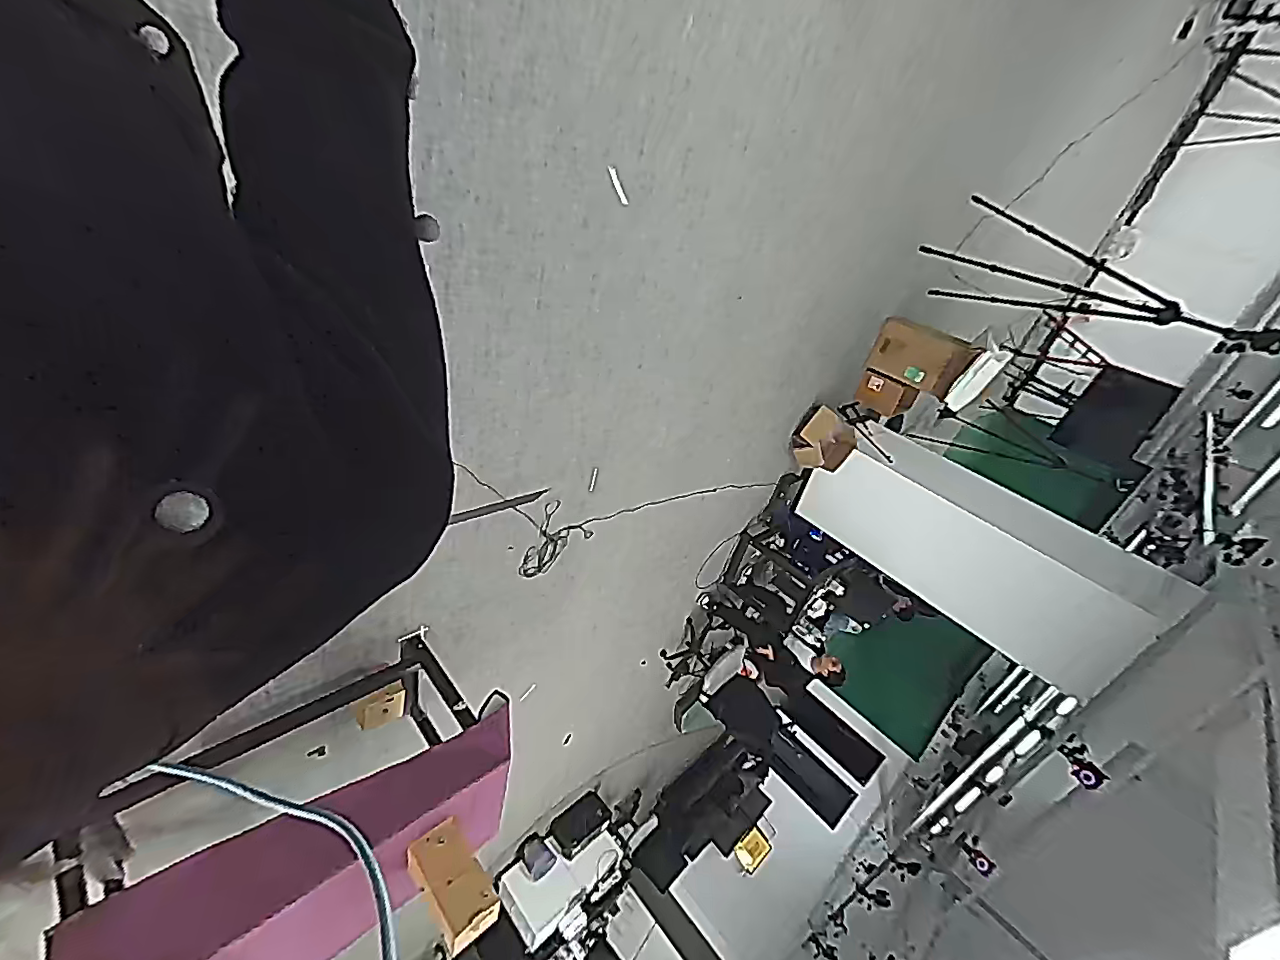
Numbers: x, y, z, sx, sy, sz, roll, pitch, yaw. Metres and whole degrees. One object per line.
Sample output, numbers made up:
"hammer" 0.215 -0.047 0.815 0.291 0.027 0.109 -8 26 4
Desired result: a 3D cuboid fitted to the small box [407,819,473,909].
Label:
"small box" -0.713 1.356 1.920 0.168 0.176 0.179 -18 134 -42
